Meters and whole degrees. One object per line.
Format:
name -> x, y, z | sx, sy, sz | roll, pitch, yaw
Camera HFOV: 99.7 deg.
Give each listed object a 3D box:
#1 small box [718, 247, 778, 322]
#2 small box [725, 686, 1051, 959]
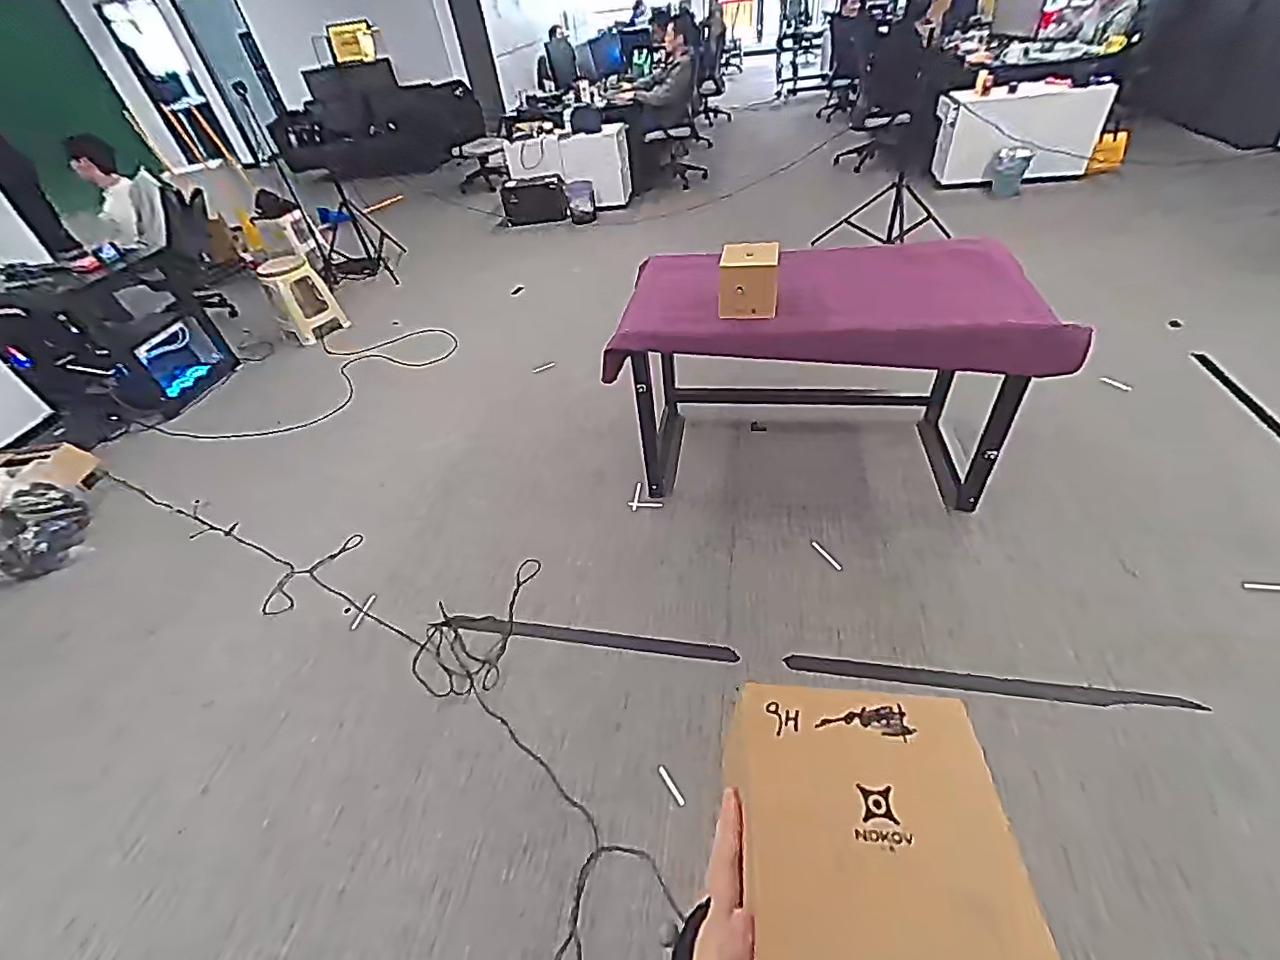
small box -> 0.333, -0.596, 1.659 | 0.168, 0.176, 0.179 | 3, 42, 12
small box -> 0.156, 0.282, 0.407 | 0.168, 0.176, 0.179 | 3, 43, 3
